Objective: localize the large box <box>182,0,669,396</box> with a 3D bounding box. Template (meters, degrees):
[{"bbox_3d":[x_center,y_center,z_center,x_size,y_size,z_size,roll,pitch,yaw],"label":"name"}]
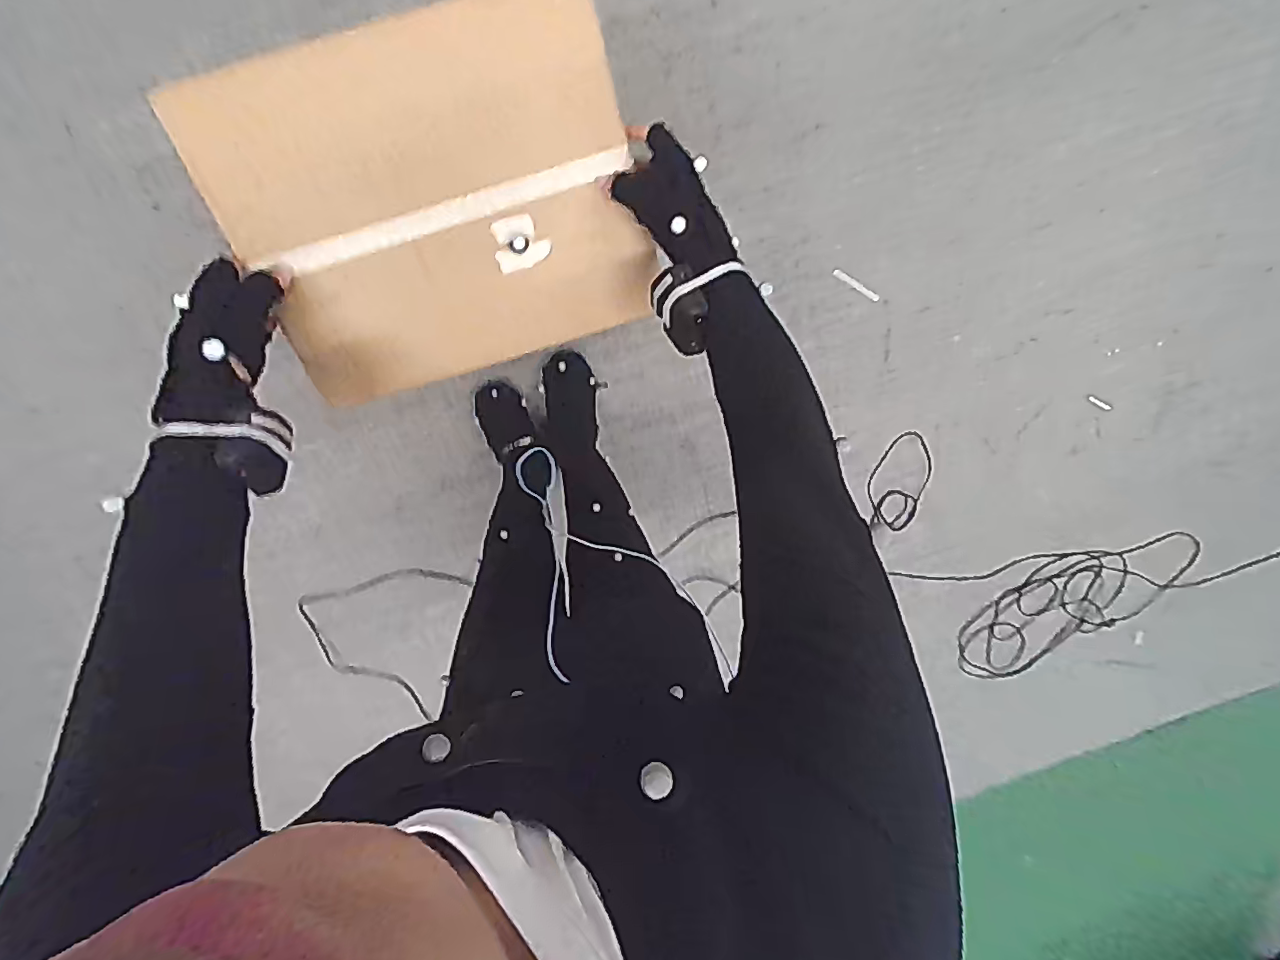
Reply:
[{"bbox_3d":[-0.214,-0.345,0.690,0.408,0.320,0.320,-17,117,-1],"label":"large box"}]
